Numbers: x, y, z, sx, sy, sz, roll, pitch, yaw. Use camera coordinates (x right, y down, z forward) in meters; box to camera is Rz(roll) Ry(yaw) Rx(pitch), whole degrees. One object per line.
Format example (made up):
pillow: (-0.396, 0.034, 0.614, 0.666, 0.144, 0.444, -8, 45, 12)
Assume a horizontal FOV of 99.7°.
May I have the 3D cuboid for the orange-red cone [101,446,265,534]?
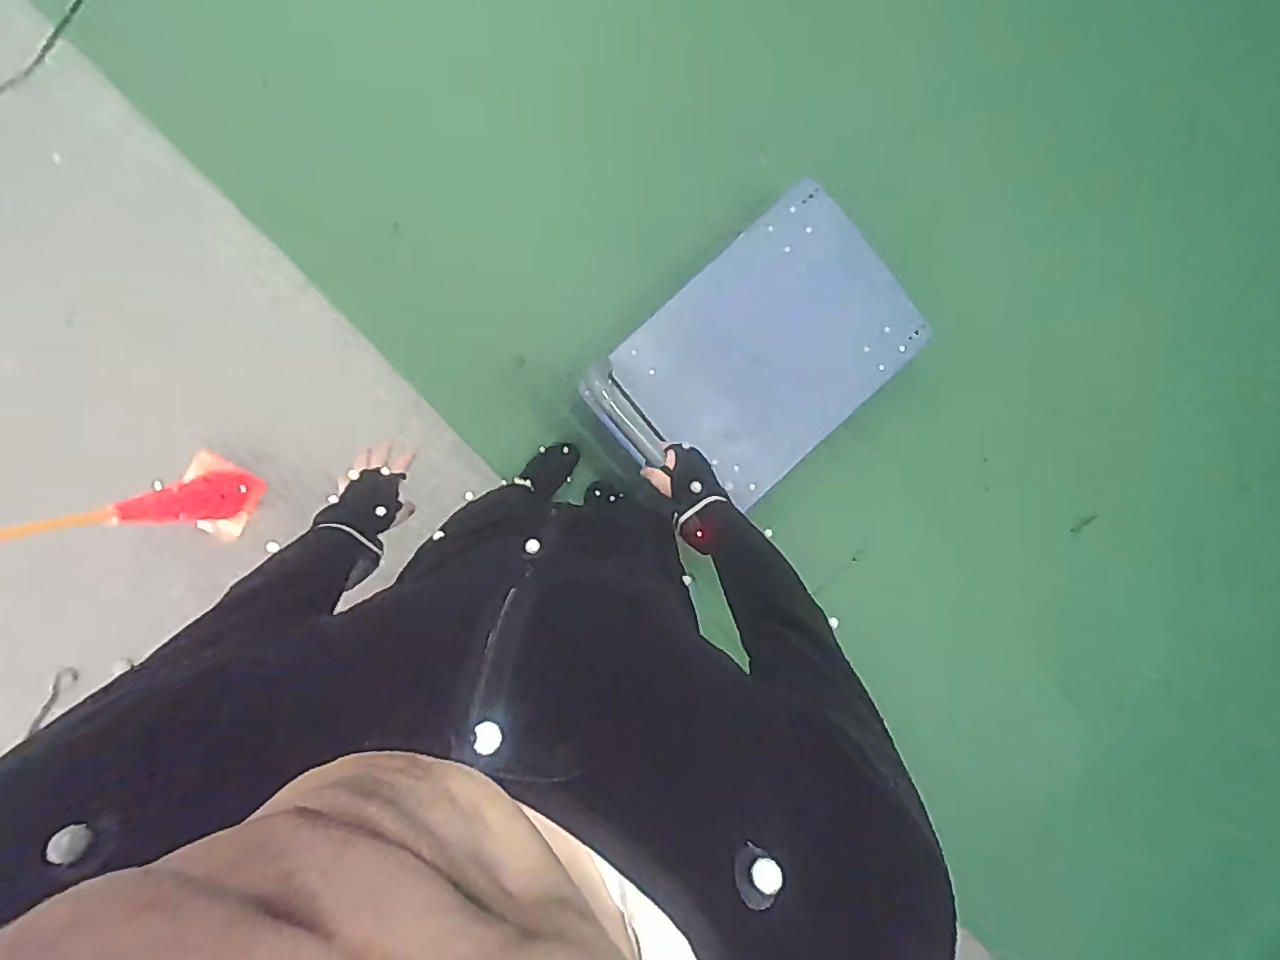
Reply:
orange-red cone: (-1.165, 0.041, 1.344, 0.199, 0.360, 0.198, 32, 91, -6)
